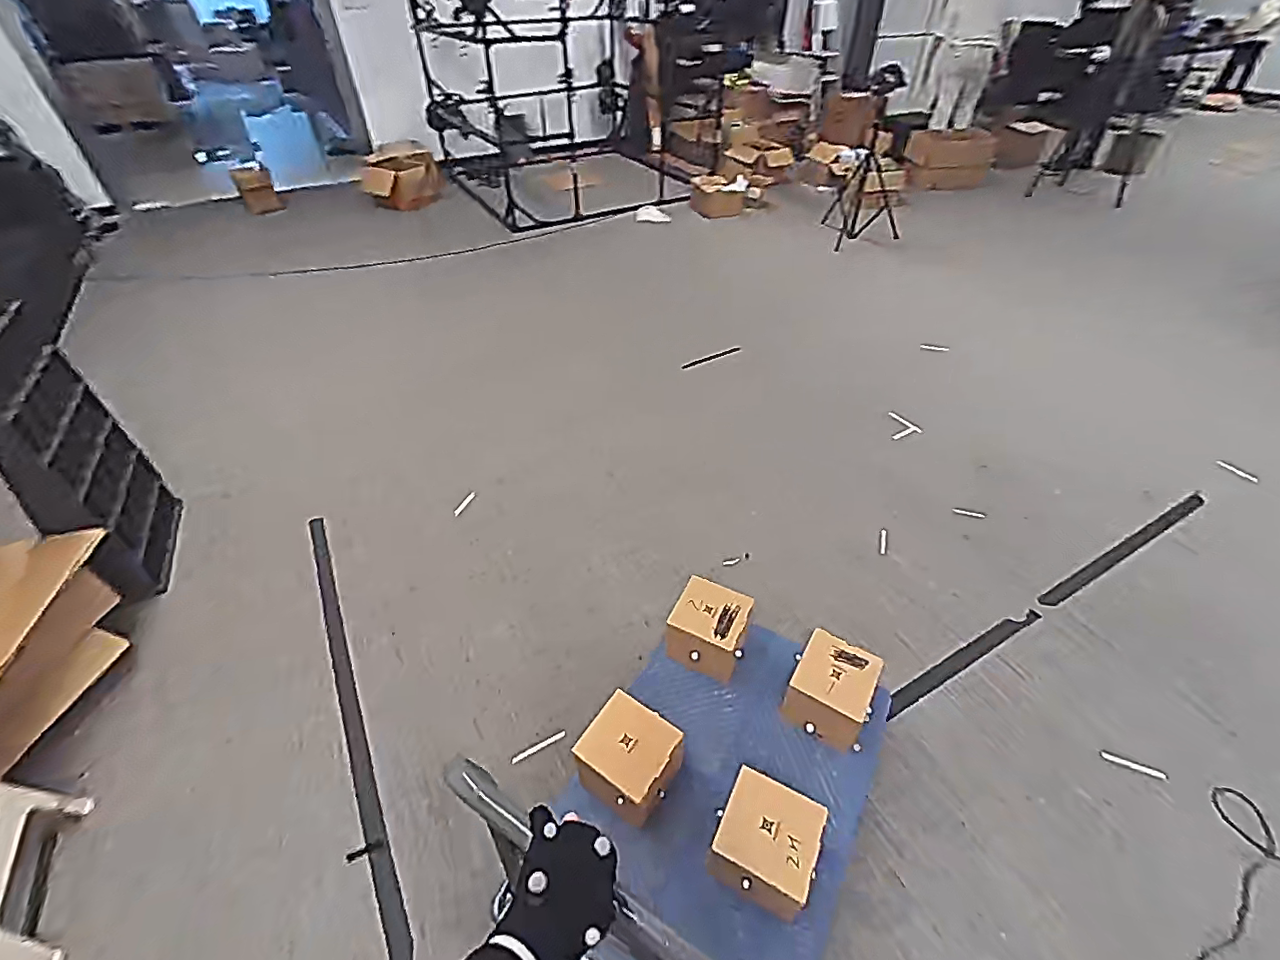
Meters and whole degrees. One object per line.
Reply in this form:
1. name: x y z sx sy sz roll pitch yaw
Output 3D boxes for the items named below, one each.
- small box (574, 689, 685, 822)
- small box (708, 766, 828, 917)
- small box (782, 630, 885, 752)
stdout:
1. small box: -0.024 0.600 1.172 0.179 0.176 0.168 26 48 24
2. small box: 0.242 0.705 1.052 0.179 0.176 0.168 20 46 22
3. small box: 0.450 0.497 1.276 0.168 0.176 0.179 24 49 25
